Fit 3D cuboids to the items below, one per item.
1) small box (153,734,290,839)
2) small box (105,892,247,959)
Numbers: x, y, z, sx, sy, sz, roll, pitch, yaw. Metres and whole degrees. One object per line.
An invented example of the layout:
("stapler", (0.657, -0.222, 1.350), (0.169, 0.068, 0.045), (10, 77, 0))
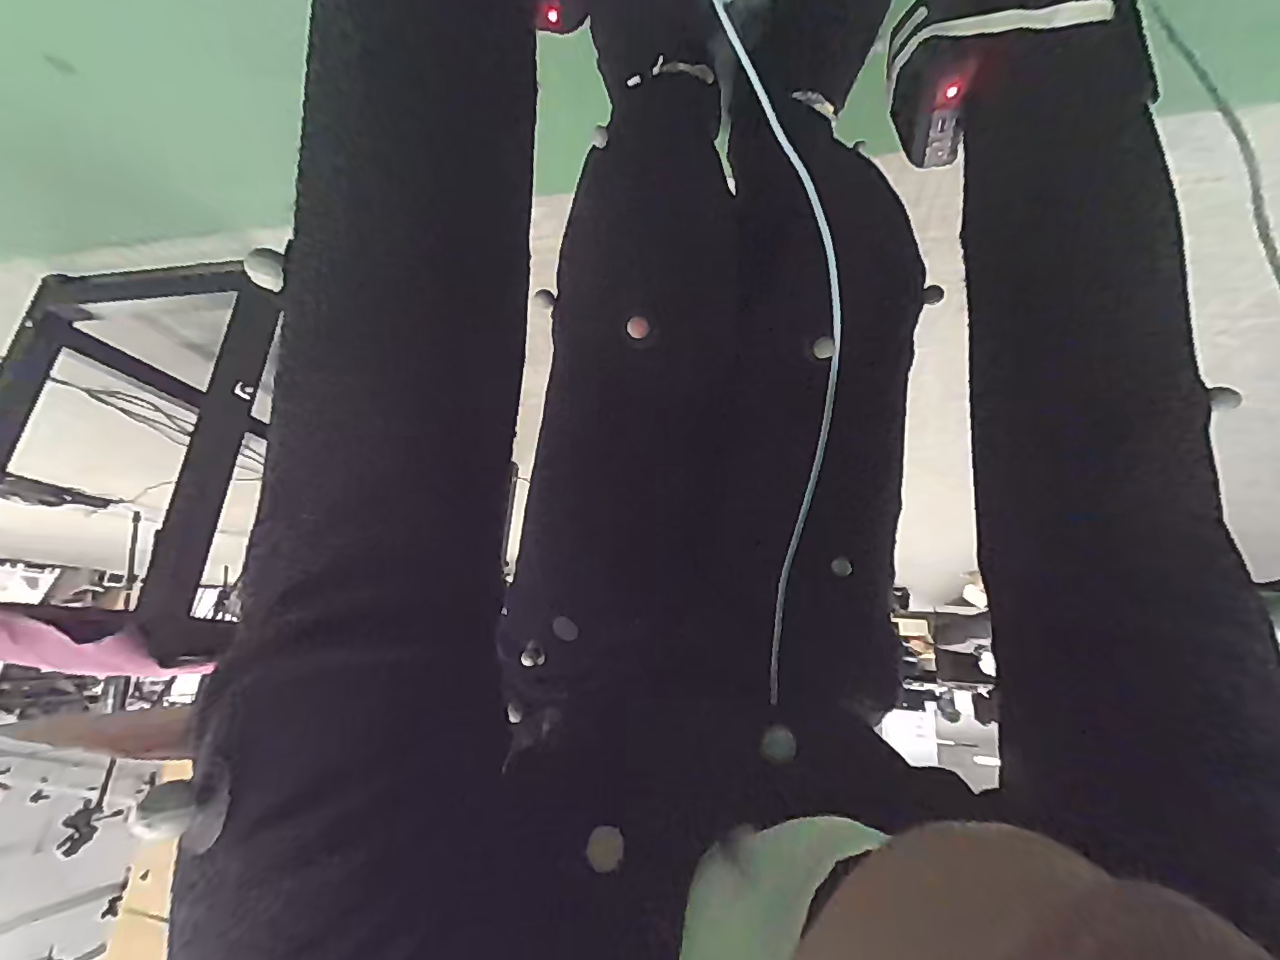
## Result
("small box", (-0.937, 0.686, 1.231), (0.179, 0.176, 0.168), (0, 162, 13))
("small box", (-0.977, 0.996, 1.130), (0.179, 0.176, 0.168), (2, 161, 12))
